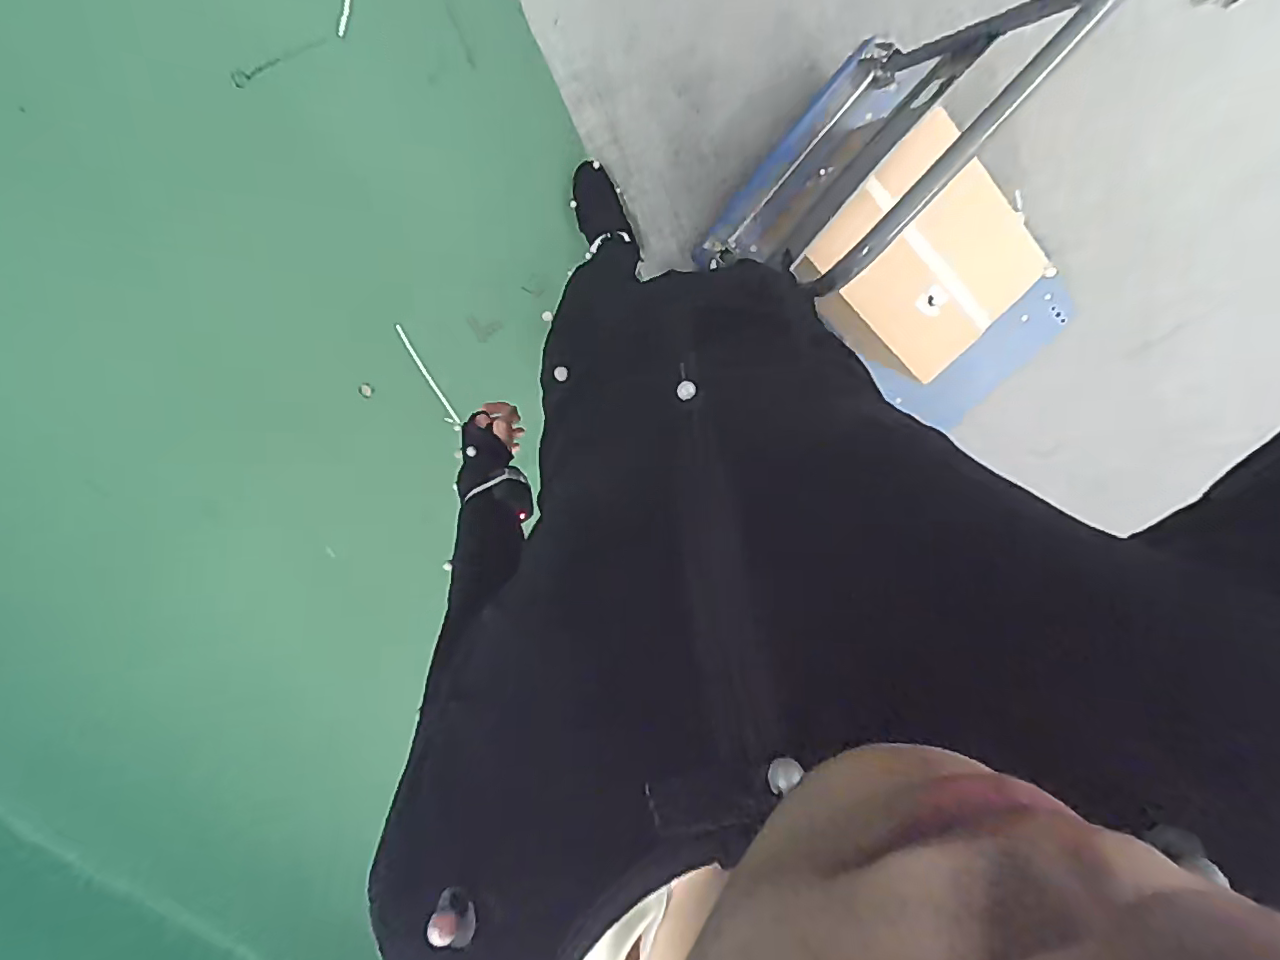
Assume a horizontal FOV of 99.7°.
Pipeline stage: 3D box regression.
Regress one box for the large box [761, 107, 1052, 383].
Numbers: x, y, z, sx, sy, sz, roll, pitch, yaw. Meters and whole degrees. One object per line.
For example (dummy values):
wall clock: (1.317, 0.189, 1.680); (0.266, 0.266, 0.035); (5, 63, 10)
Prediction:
large box: (0.534, -0.479, 1.147); (0.408, 0.320, 0.320); (38, 107, -21)
